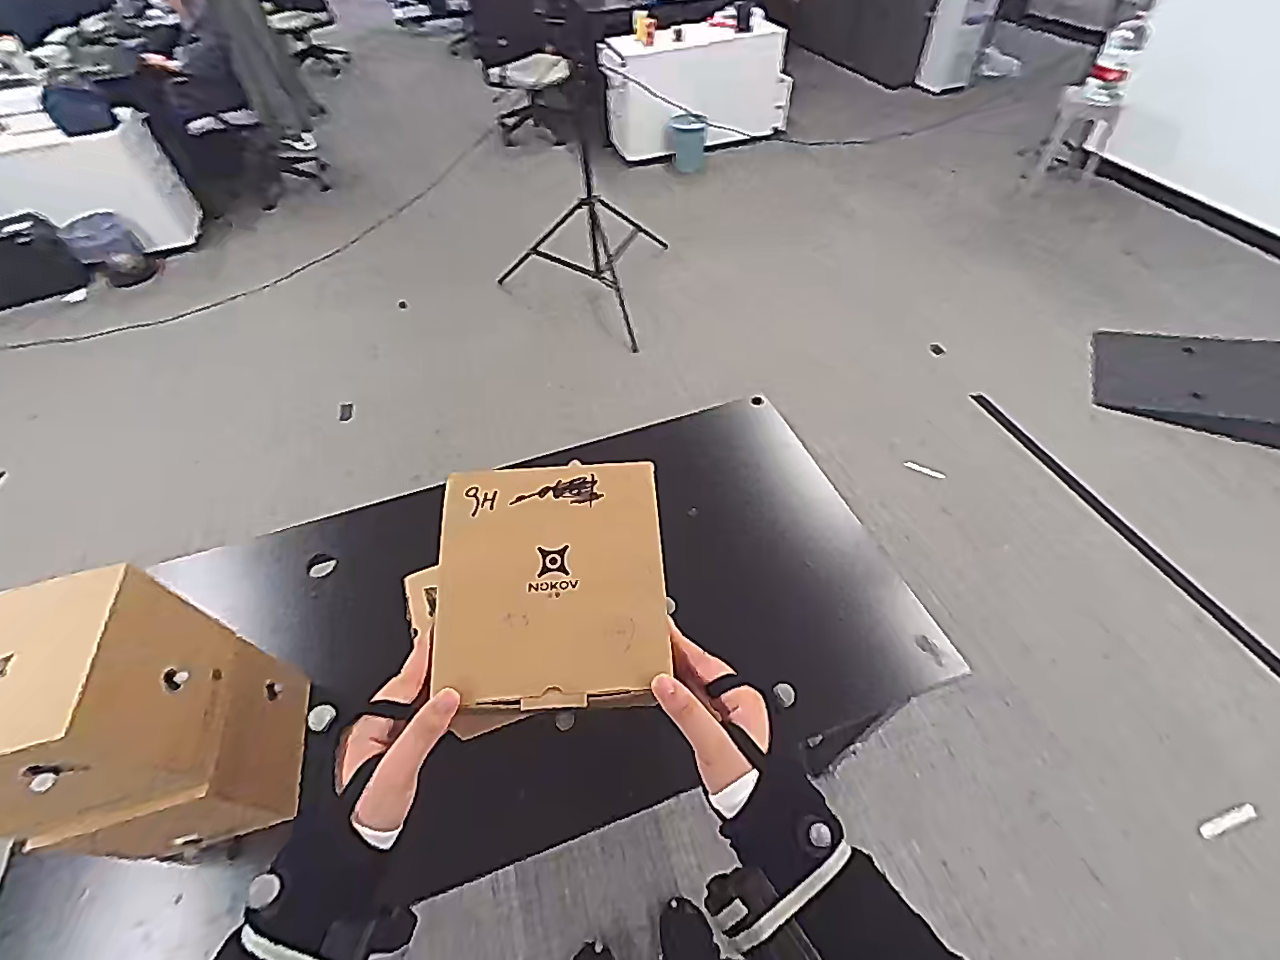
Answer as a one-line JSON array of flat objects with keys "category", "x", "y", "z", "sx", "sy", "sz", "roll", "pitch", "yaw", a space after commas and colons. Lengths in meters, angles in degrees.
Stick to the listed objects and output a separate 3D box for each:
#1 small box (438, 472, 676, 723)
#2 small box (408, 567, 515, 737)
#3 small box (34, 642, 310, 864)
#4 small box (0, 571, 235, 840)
[{"category": "small box", "x": -0.060, "y": 0.108, "z": 0.468, "sx": 0.168, "sy": 0.176, "sz": 0.179, "roll": -3, "pitch": 66, "yaw": -3}, {"category": "small box", "x": -0.179, "y": 0.209, "z": 0.707, "sx": 0.179, "sy": 0.176, "sz": 0.168, "roll": -17, "pitch": 52, "yaw": -11}, {"category": "small box", "x": -0.519, "y": 0.323, "z": 0.638, "sx": 0.168, "sy": 0.176, "sz": 0.179, "roll": -15, "pitch": 53, "yaw": -8}, {"category": "small box", "x": -0.534, "y": 0.216, "z": 0.513, "sx": 0.179, "sy": 0.176, "sz": 0.168, "roll": -15, "pitch": 51, "yaw": -8}]
